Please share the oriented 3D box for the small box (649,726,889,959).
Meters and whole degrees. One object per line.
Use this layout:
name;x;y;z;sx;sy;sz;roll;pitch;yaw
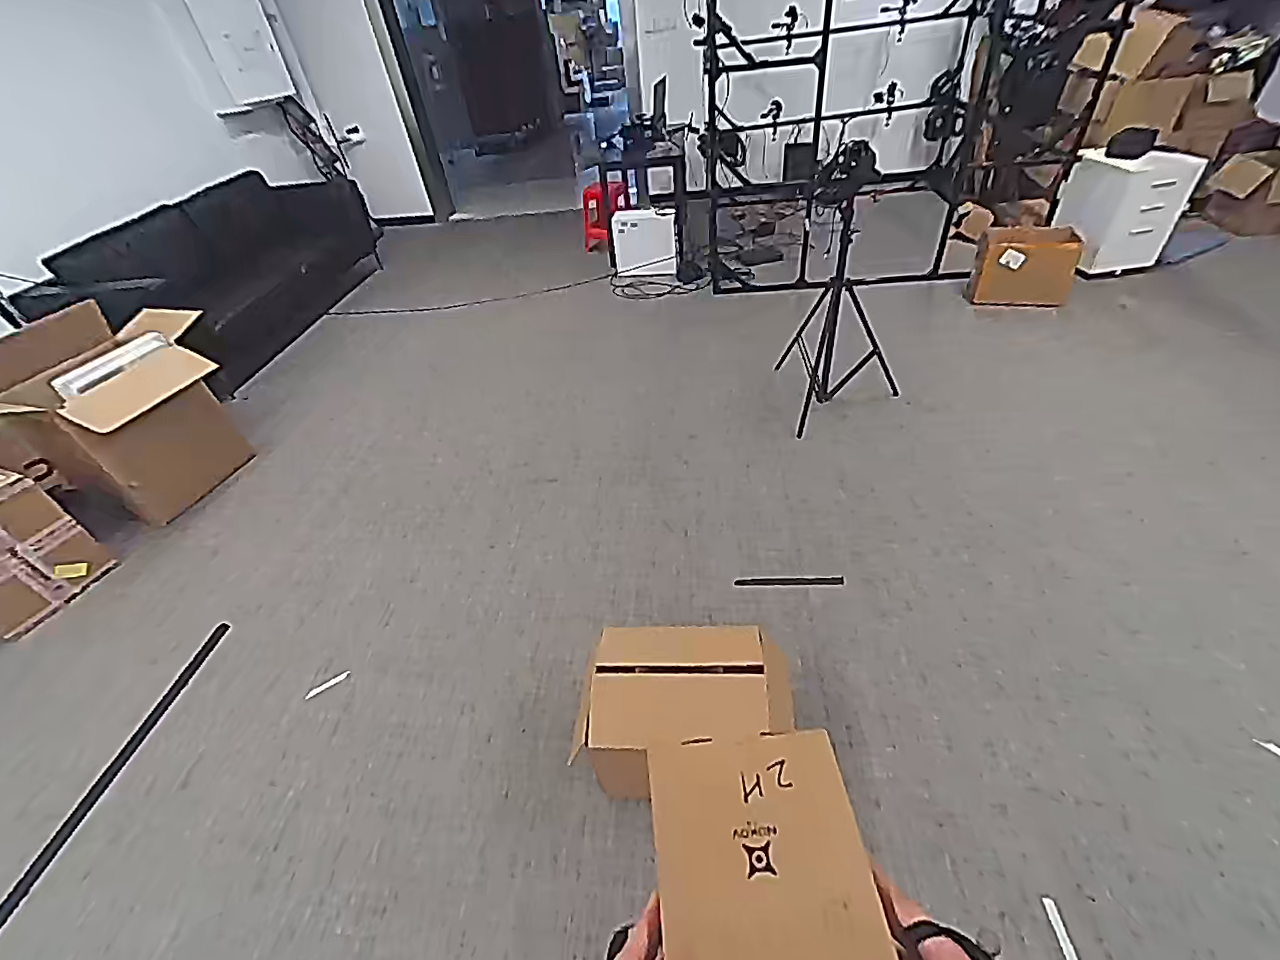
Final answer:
small box;0.099;0.354;0.498;0.168;0.176;0.179;-5;42;0
